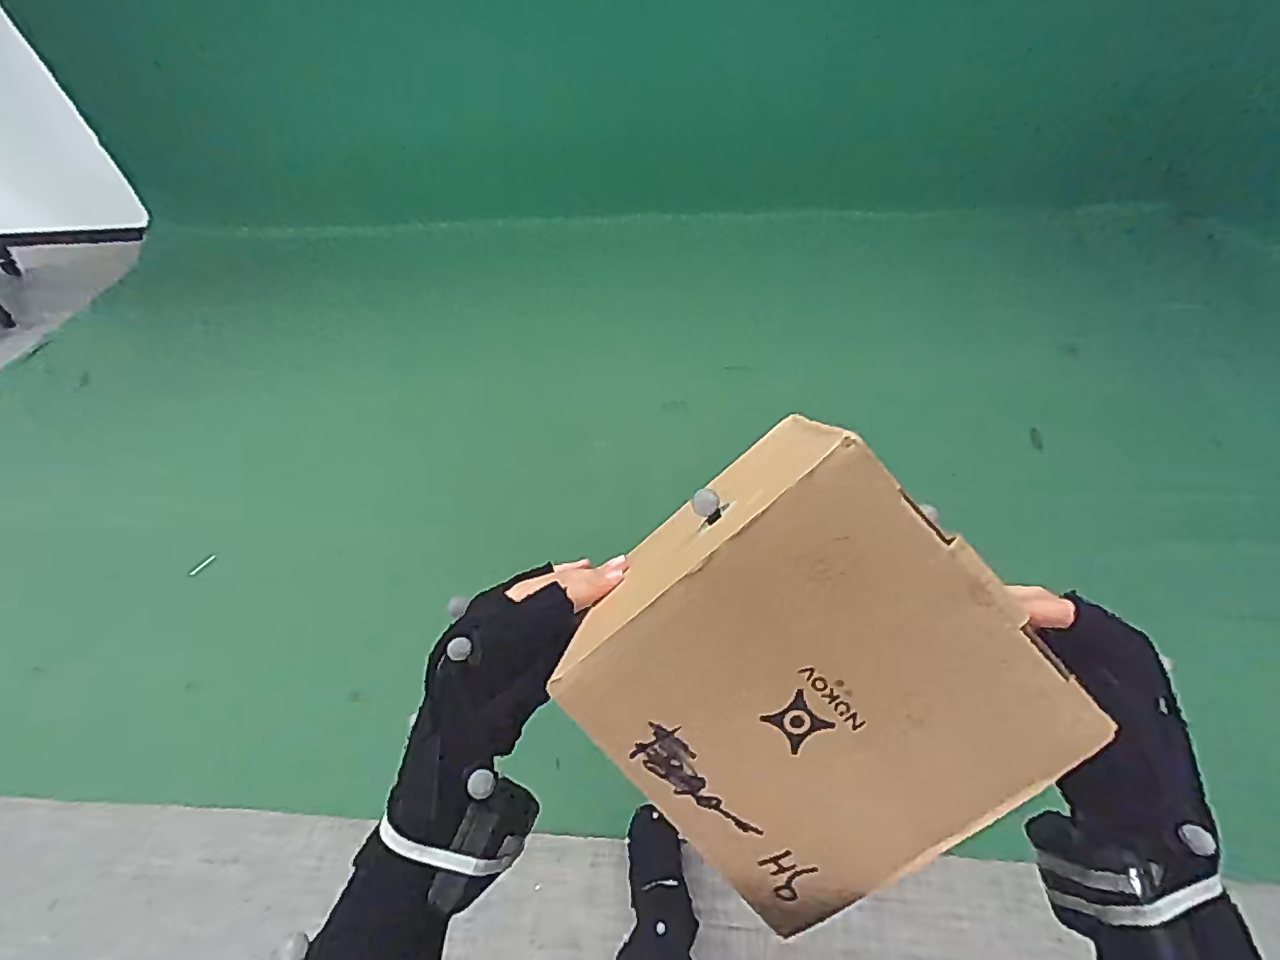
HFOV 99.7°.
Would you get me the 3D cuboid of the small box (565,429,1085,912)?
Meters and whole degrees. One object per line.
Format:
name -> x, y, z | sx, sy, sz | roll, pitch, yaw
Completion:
small box -> 0.086, 0.083, 0.323 | 0.179, 0.176, 0.168 | -42, 91, 11
